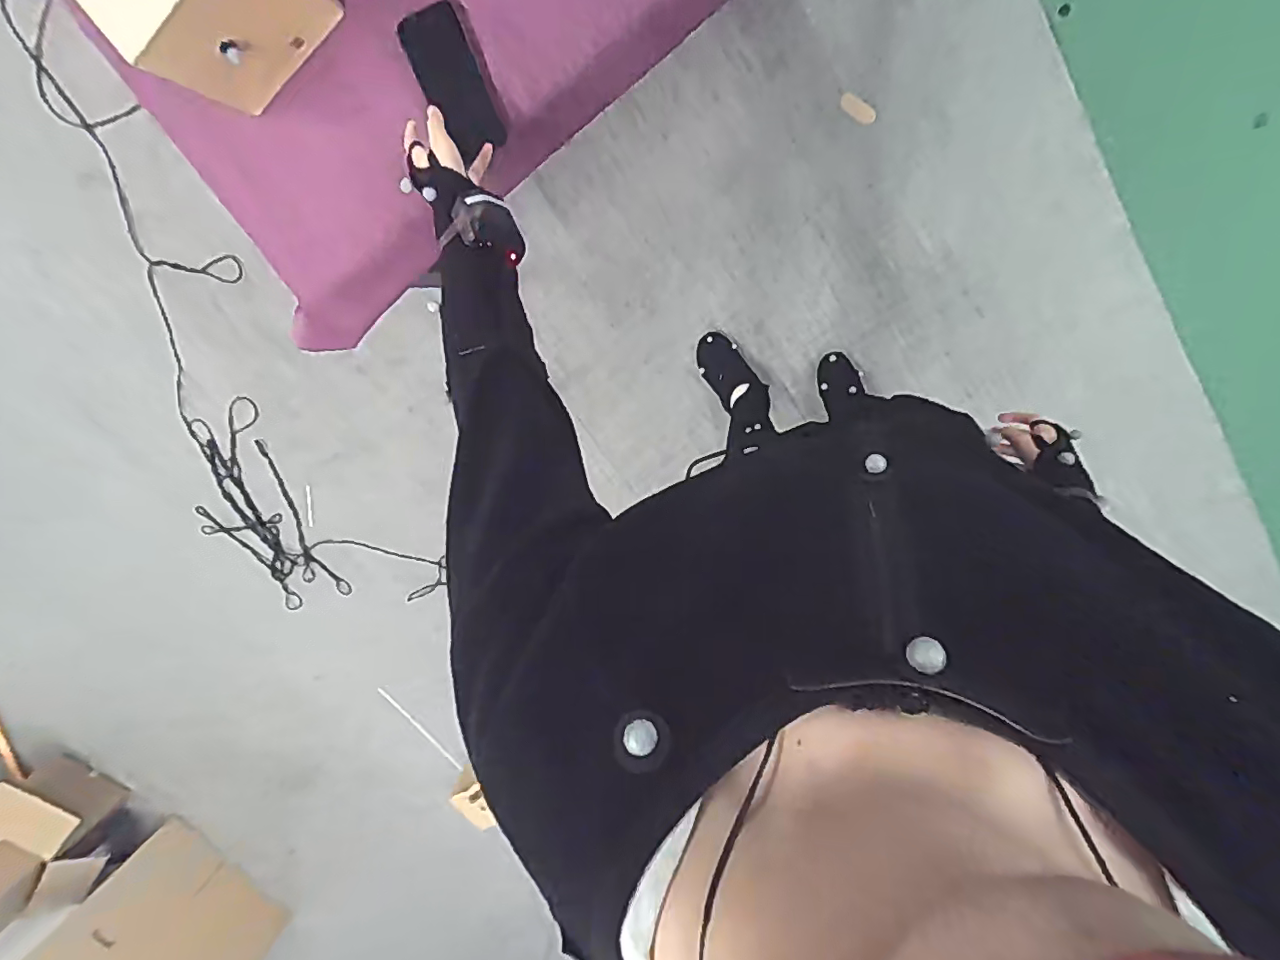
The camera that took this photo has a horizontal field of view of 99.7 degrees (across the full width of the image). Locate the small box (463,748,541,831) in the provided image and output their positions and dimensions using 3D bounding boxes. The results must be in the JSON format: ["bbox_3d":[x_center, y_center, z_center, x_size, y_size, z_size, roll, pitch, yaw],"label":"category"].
[{"bbox_3d":[-0.478,1.073,1.894,0.168,0.176,0.179,-34,104,17],"label":"small box"}]

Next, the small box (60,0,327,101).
[{"bbox_3d":[-0.463,-0.520,0.536,0.168,0.176,0.179,-35,102,17],"label":"small box"}]
